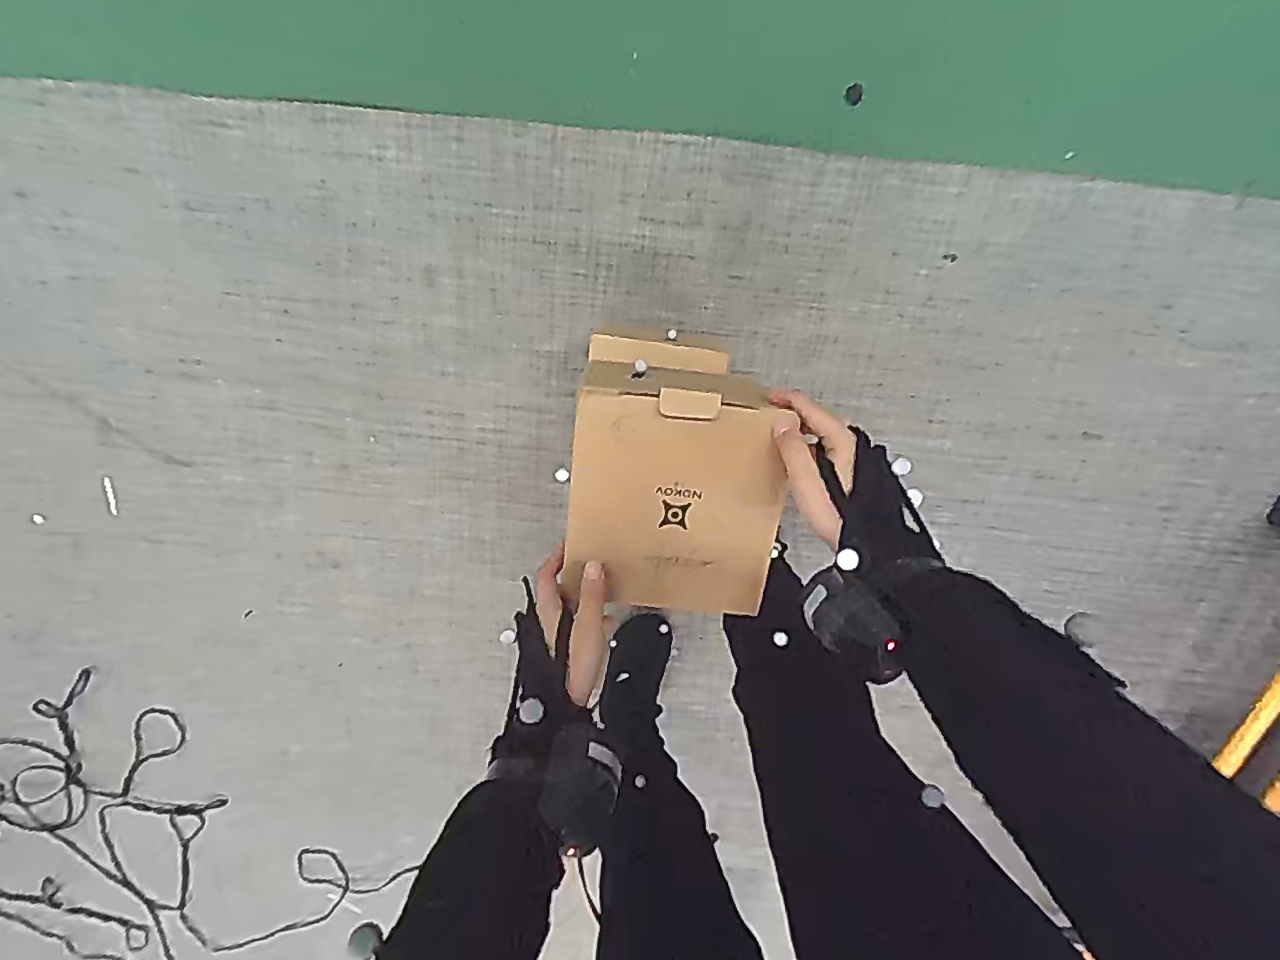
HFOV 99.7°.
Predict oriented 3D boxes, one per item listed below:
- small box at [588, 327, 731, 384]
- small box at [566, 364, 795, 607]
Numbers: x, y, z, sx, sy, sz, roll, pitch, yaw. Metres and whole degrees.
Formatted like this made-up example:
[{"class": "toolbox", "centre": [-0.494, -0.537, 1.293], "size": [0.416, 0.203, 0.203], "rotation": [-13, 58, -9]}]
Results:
[{"class": "small box", "centre": [0.020, -0.118, 0.767], "size": [0.179, 0.176, 0.168], "rotation": [8, 111, 0]}, {"class": "small box", "centre": [0.026, -0.007, 0.503], "size": [0.168, 0.176, 0.179], "rotation": [6, 109, -3]}]
